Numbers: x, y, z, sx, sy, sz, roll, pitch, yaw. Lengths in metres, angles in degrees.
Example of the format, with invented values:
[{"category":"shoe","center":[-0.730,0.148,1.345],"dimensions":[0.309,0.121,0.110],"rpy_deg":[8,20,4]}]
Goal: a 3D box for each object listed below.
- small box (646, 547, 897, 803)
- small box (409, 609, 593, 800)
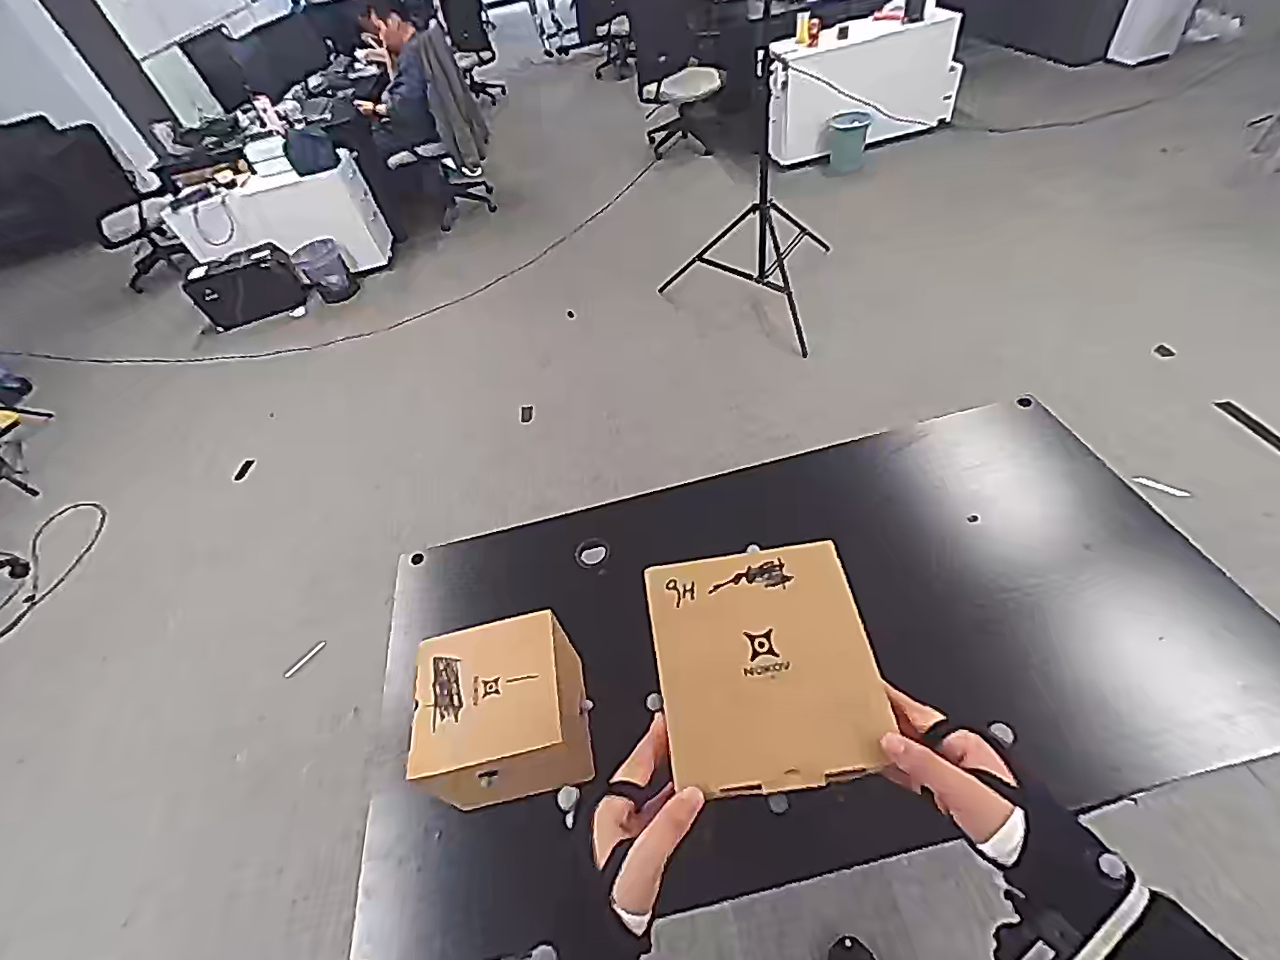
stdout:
[{"category":"small box","center":[0.101,0.182,0.495],"dimensions":[0.168,0.176,0.179],"rpy_deg":[-8,60,0]},{"category":"small box","center":[-0.170,0.295,0.703],"dimensions":[0.179,0.176,0.168],"rpy_deg":[-13,49,-1]}]
